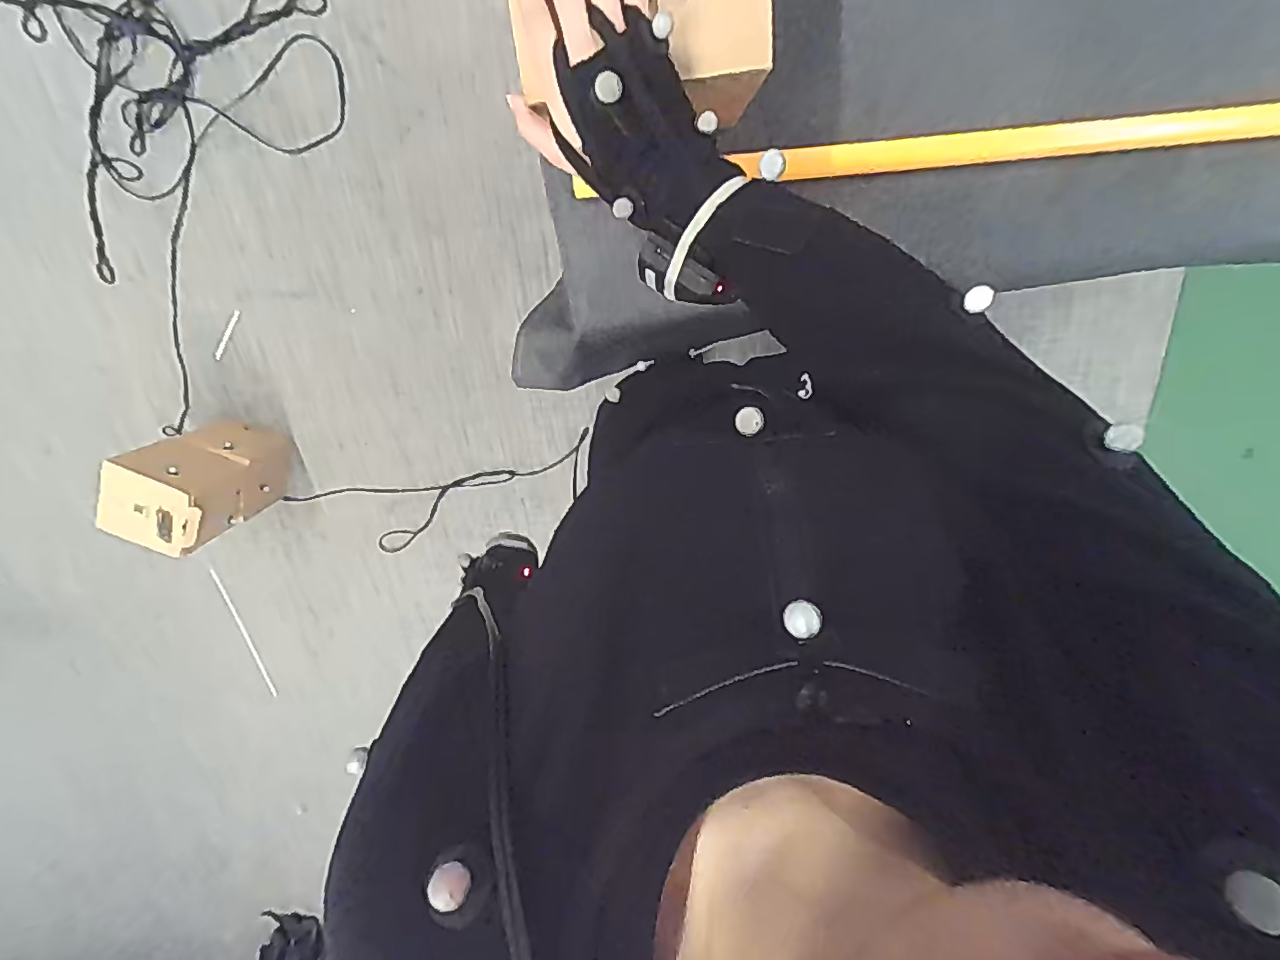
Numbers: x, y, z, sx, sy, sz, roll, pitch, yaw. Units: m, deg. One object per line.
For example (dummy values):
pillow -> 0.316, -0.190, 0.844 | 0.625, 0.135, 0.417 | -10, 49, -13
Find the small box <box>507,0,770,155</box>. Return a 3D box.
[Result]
small box -> -0.005, -0.364, 0.398 | 0.168, 0.176, 0.179 | -6, 112, 4

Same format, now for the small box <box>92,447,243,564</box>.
small box -> -1.009, 0.048, 1.168 | 0.179, 0.176, 0.168 | 25, 108, -7

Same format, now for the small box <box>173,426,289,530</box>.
small box -> -0.996, -0.010, 1.322 | 0.168, 0.176, 0.179 | 19, 110, -6
